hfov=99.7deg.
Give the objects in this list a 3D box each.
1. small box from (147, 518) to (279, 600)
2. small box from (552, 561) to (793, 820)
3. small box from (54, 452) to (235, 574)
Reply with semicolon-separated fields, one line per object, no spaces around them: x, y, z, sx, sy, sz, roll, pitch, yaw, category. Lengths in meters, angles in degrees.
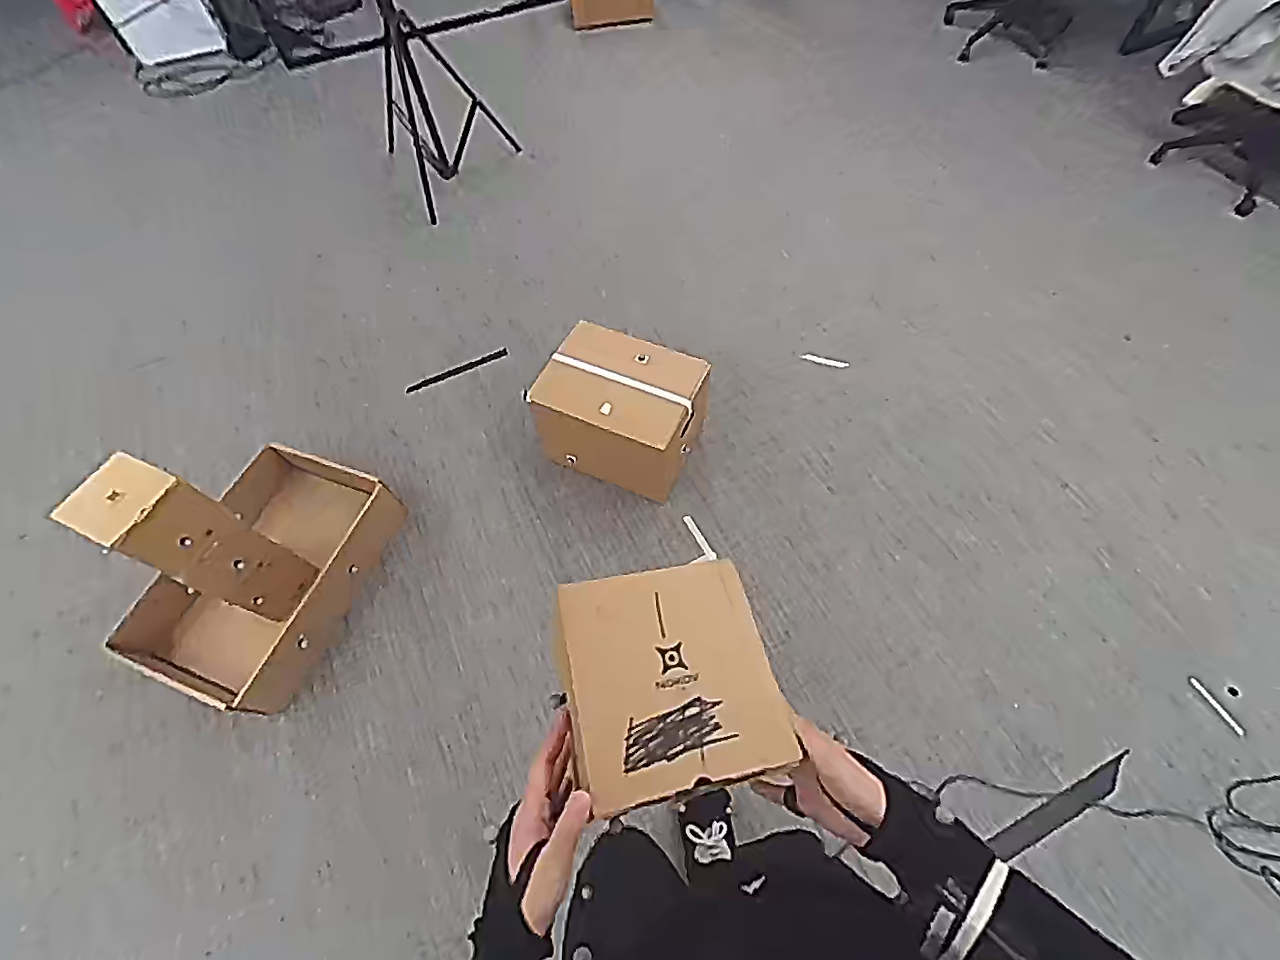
-1.000;0.163;1.257;0.179;0.176;0.168;21;63;13;small box
0.011;0.198;0.503;0.168;0.176;0.179;-6;57;-15;small box
-1.011;0.075;1.120;0.179;0.176;0.168;20;63;13;small box
